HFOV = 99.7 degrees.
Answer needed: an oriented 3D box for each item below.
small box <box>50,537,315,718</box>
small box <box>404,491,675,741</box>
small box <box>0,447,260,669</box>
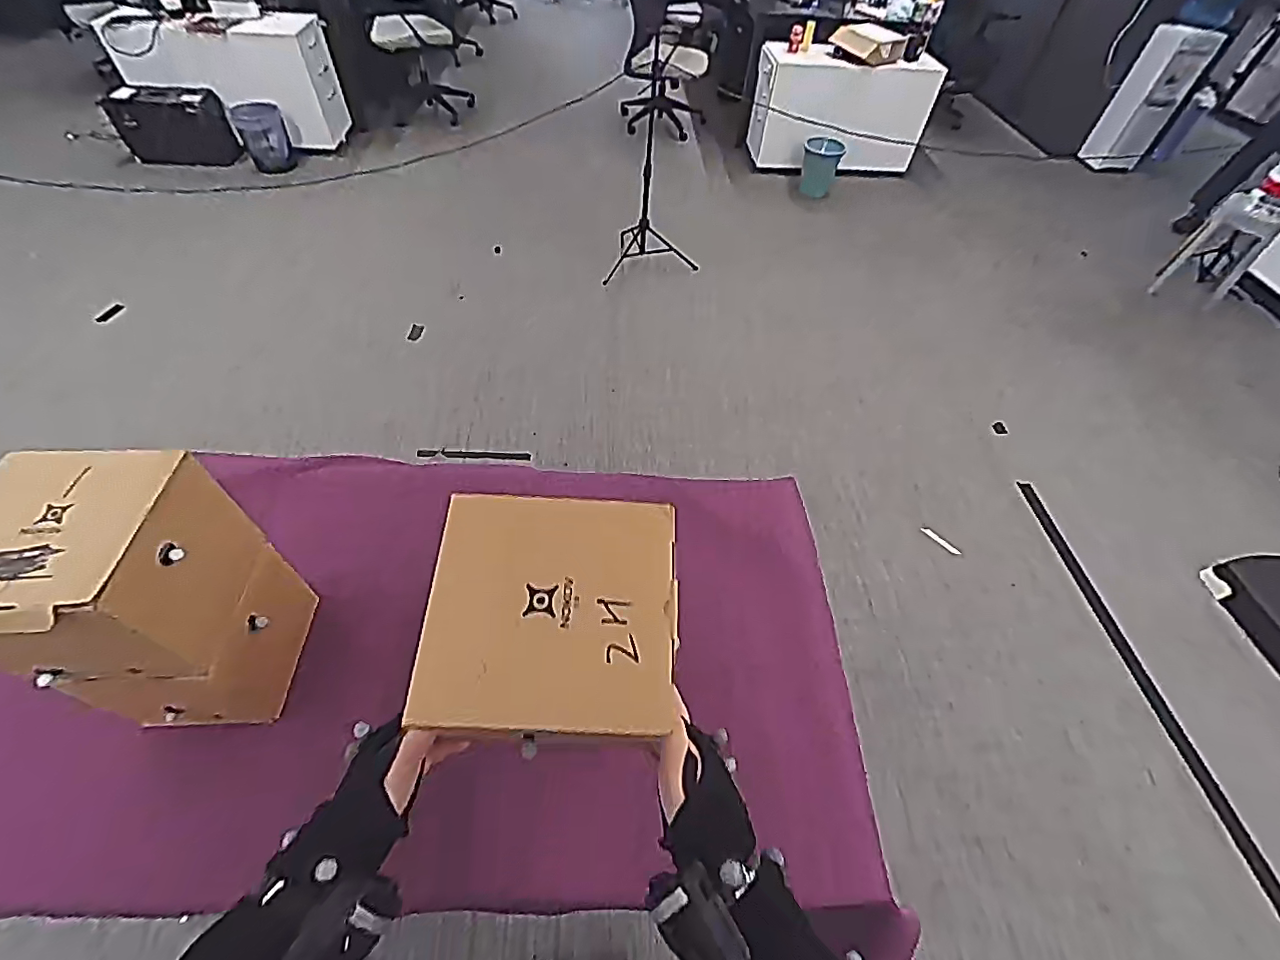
[{"bbox_3d":[-0.545,0.187,0.684,0.168,0.176,0.179,0,53,-4],"label":"small box"},{"bbox_3d":[-0.067,0.123,0.456,0.179,0.176,0.168,4,62,-2],"label":"small box"},{"bbox_3d":[-0.536,0.086,0.555,0.168,0.176,0.179,0,52,-5],"label":"small box"}]
